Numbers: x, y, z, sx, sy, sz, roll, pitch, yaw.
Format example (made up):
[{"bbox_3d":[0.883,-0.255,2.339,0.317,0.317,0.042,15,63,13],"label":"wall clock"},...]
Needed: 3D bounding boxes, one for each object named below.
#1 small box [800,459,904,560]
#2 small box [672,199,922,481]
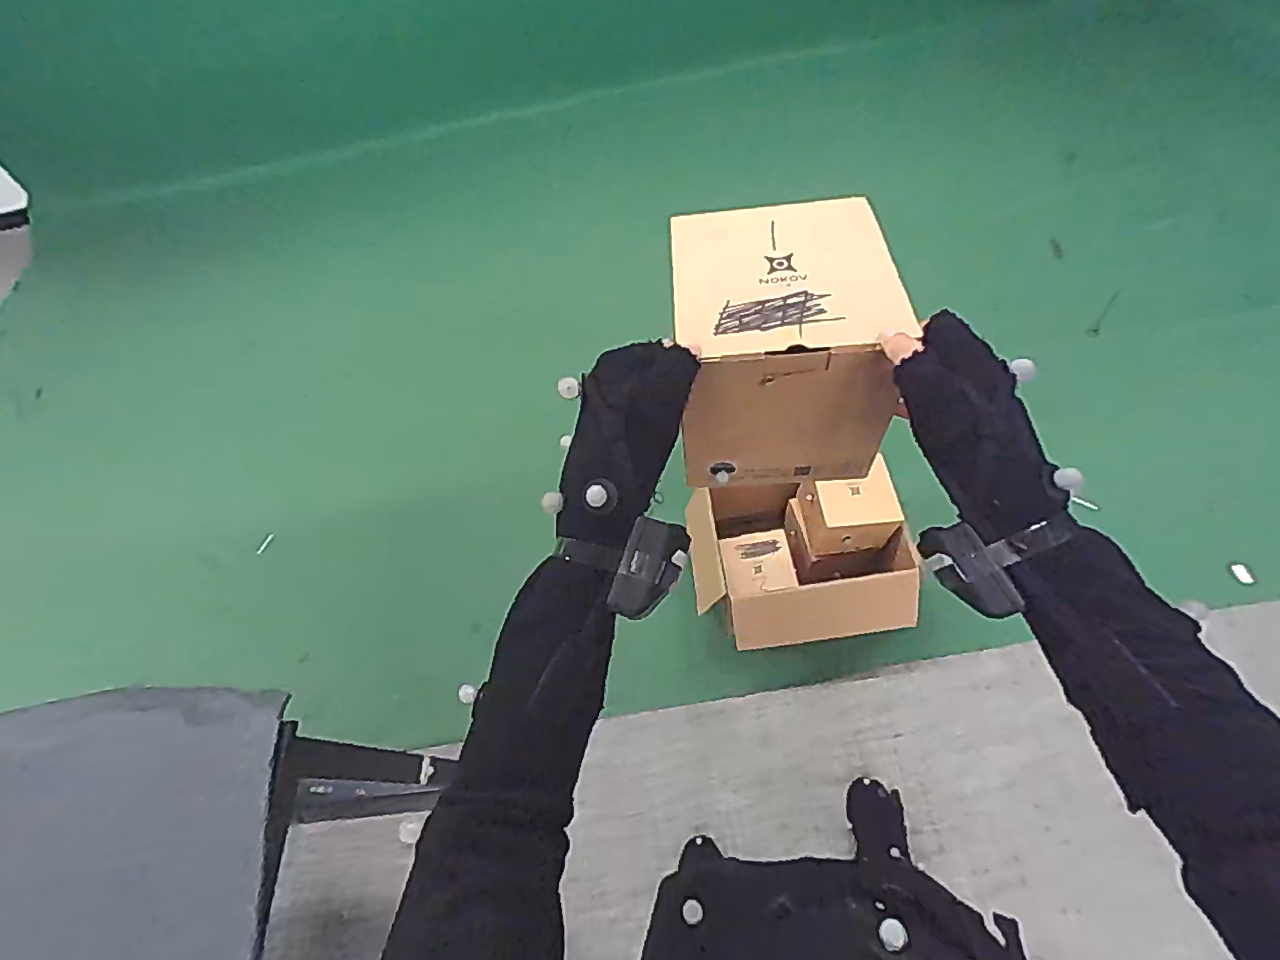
[{"bbox_3d":[0.480,0.076,1.251,0.168,0.176,0.179,-6,58,3],"label":"small box"},{"bbox_3d":[0.116,-0.110,0.473,0.168,0.176,0.179,-3,56,6],"label":"small box"}]
